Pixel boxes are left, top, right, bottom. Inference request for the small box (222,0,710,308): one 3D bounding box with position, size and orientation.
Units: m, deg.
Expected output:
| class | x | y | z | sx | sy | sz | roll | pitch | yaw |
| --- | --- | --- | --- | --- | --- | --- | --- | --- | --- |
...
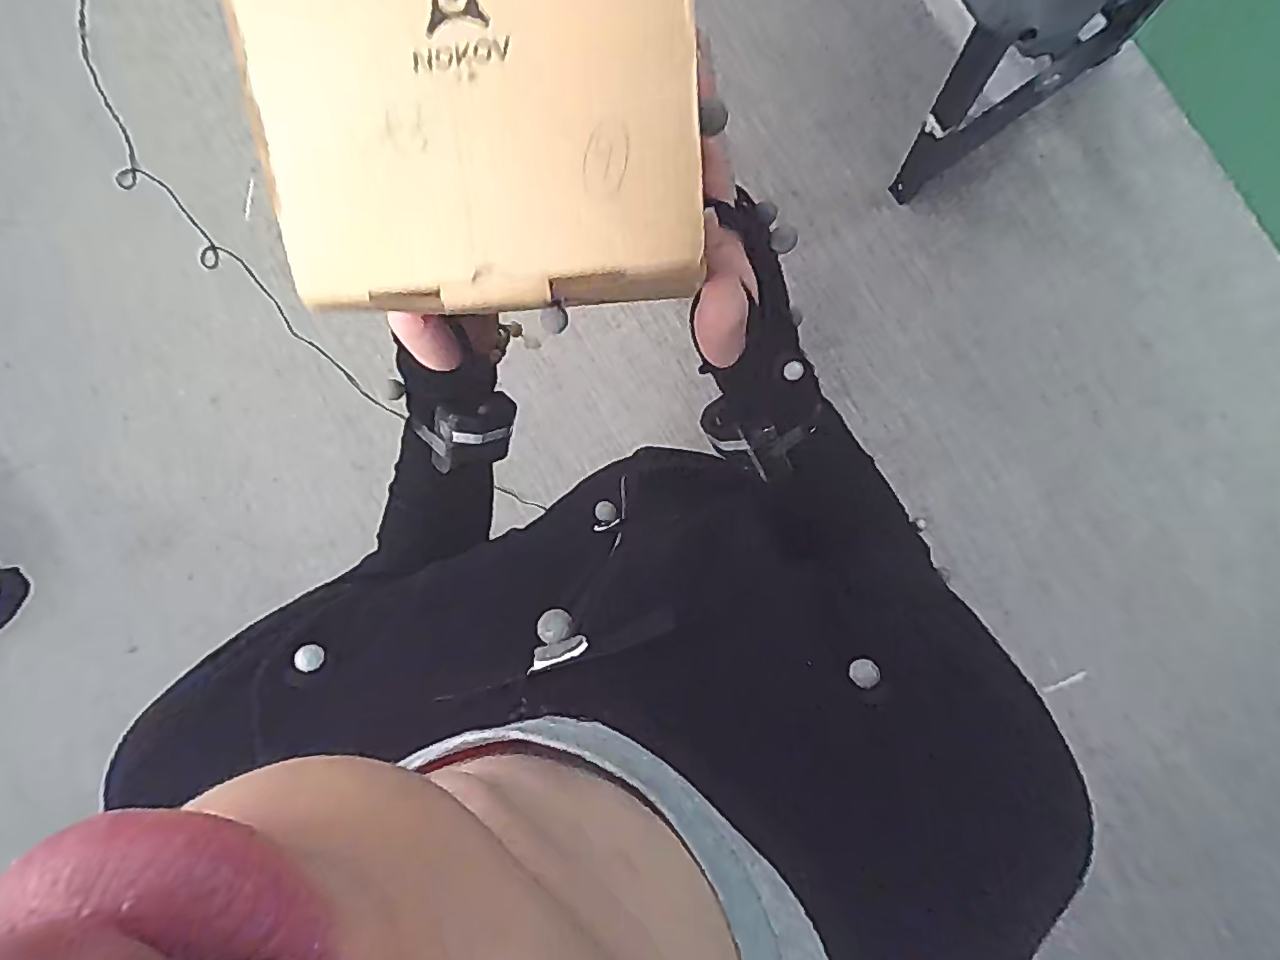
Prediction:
| class | x | y | z | sx | sy | sz | roll | pitch | yaw |
| --- | --- | --- | --- | --- | --- | --- | --- | --- | --- |
| small box | -0.053 | -0.177 | 0.256 | 0.168 | 0.176 | 0.179 | -3 | 105 | 5 |
